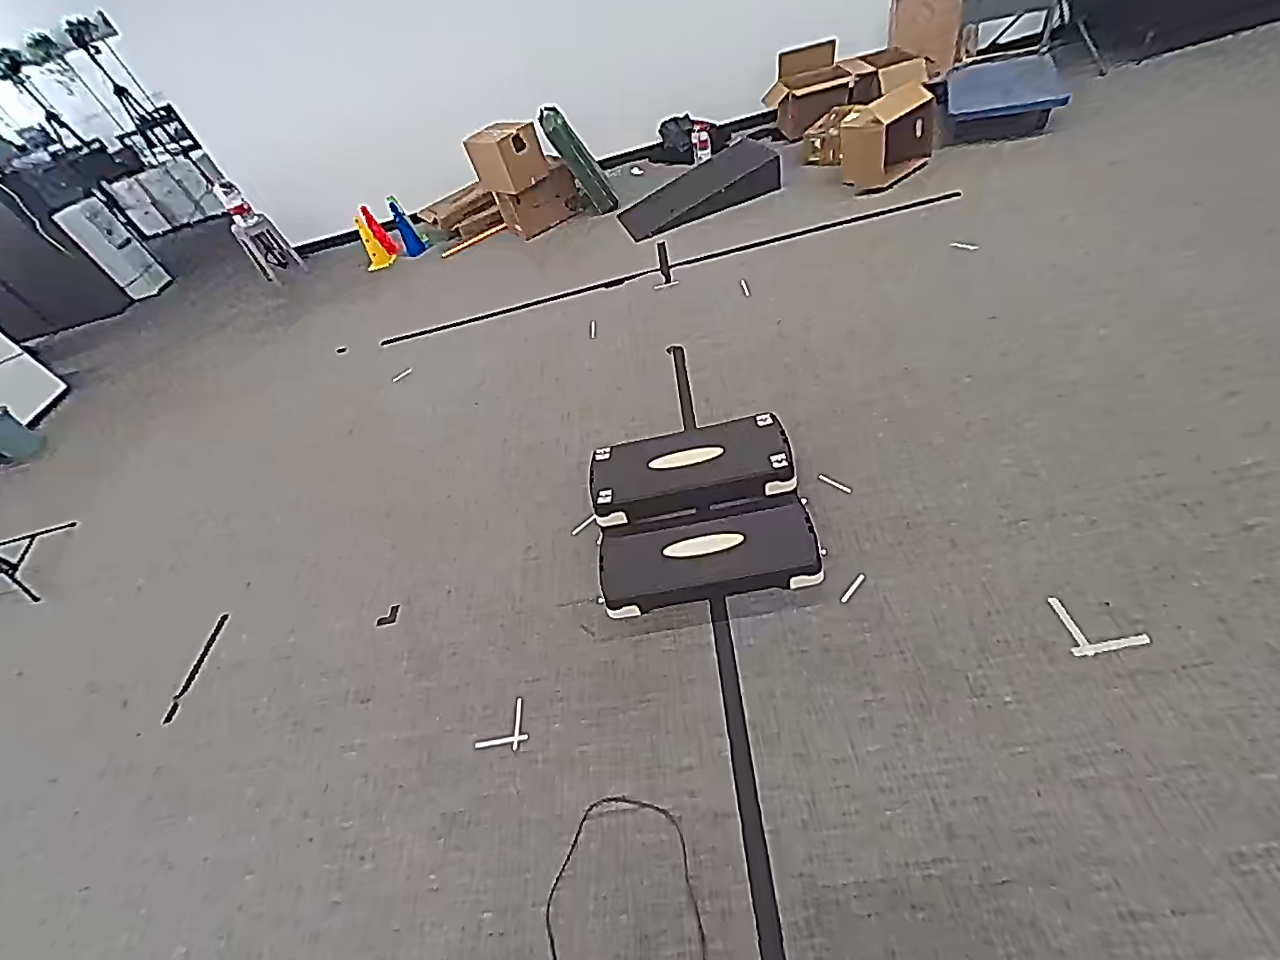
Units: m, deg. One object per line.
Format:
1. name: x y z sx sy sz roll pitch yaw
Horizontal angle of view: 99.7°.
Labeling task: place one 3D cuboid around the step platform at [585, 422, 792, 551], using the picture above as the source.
1. step platform: 0.154 0.019 1.826 0.684 0.204 0.286 -12 47 6
